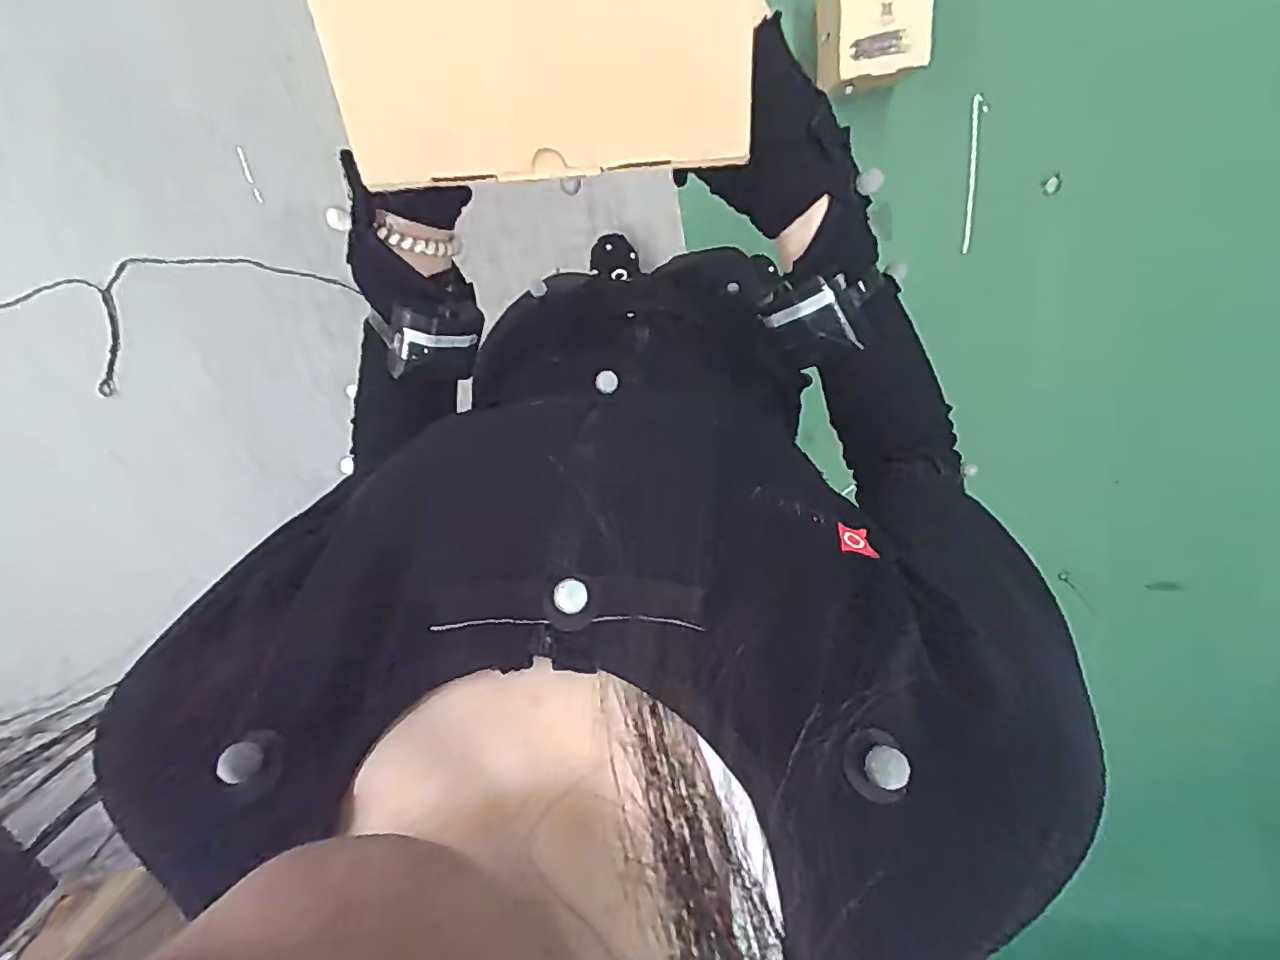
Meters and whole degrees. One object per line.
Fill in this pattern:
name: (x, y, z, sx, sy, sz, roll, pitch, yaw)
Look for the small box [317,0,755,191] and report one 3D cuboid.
small box: (-0.036, -0.243, 0.252, 0.168, 0.176, 0.179, -1, 123, 6)
